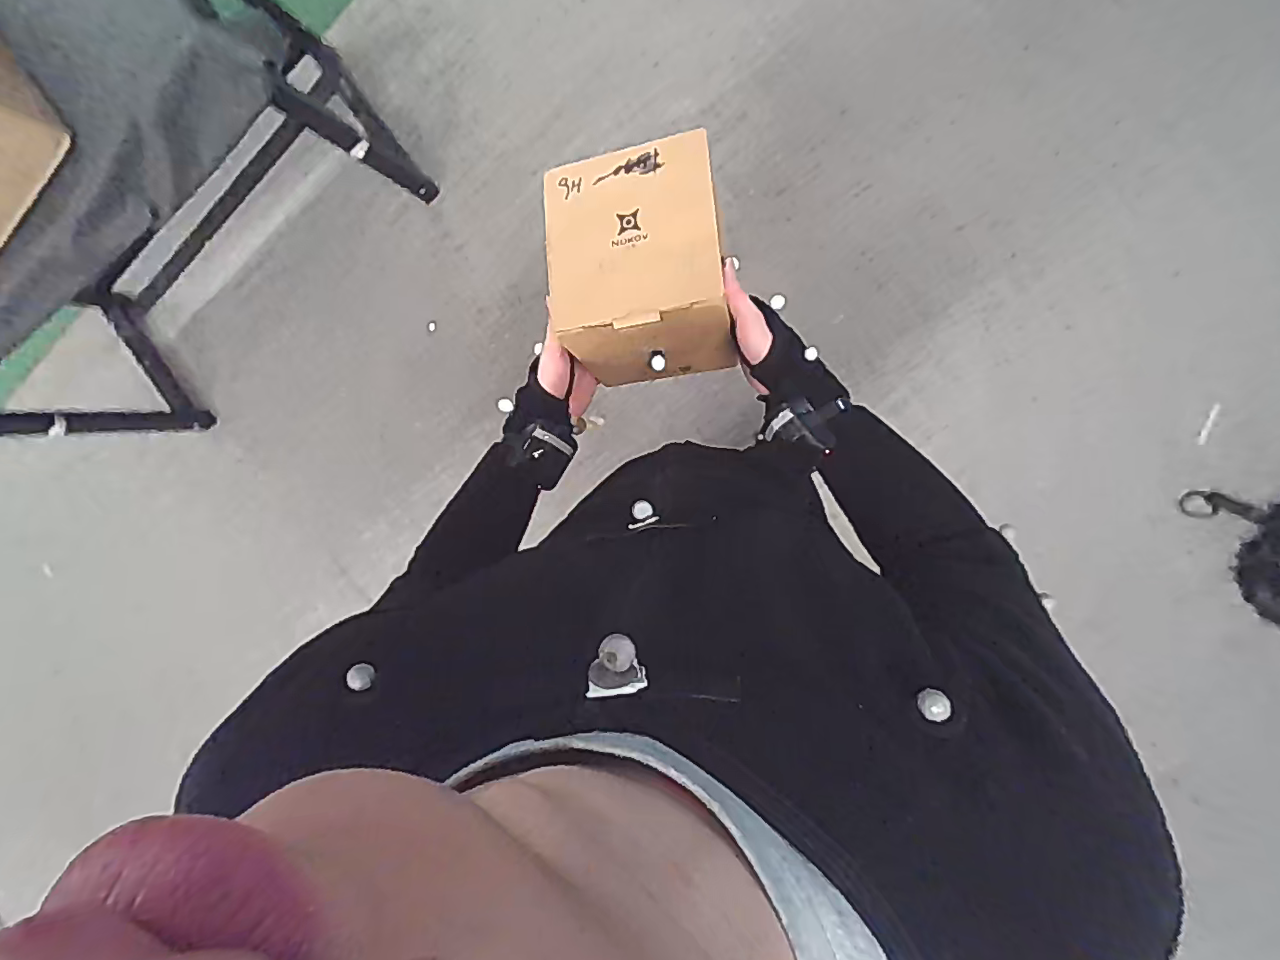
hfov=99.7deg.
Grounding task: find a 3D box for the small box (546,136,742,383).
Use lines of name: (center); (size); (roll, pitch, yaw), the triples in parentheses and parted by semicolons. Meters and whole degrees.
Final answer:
small box: (0.013, -0.212, 0.579); (0.168, 0.176, 0.179); (-7, 81, 15)
